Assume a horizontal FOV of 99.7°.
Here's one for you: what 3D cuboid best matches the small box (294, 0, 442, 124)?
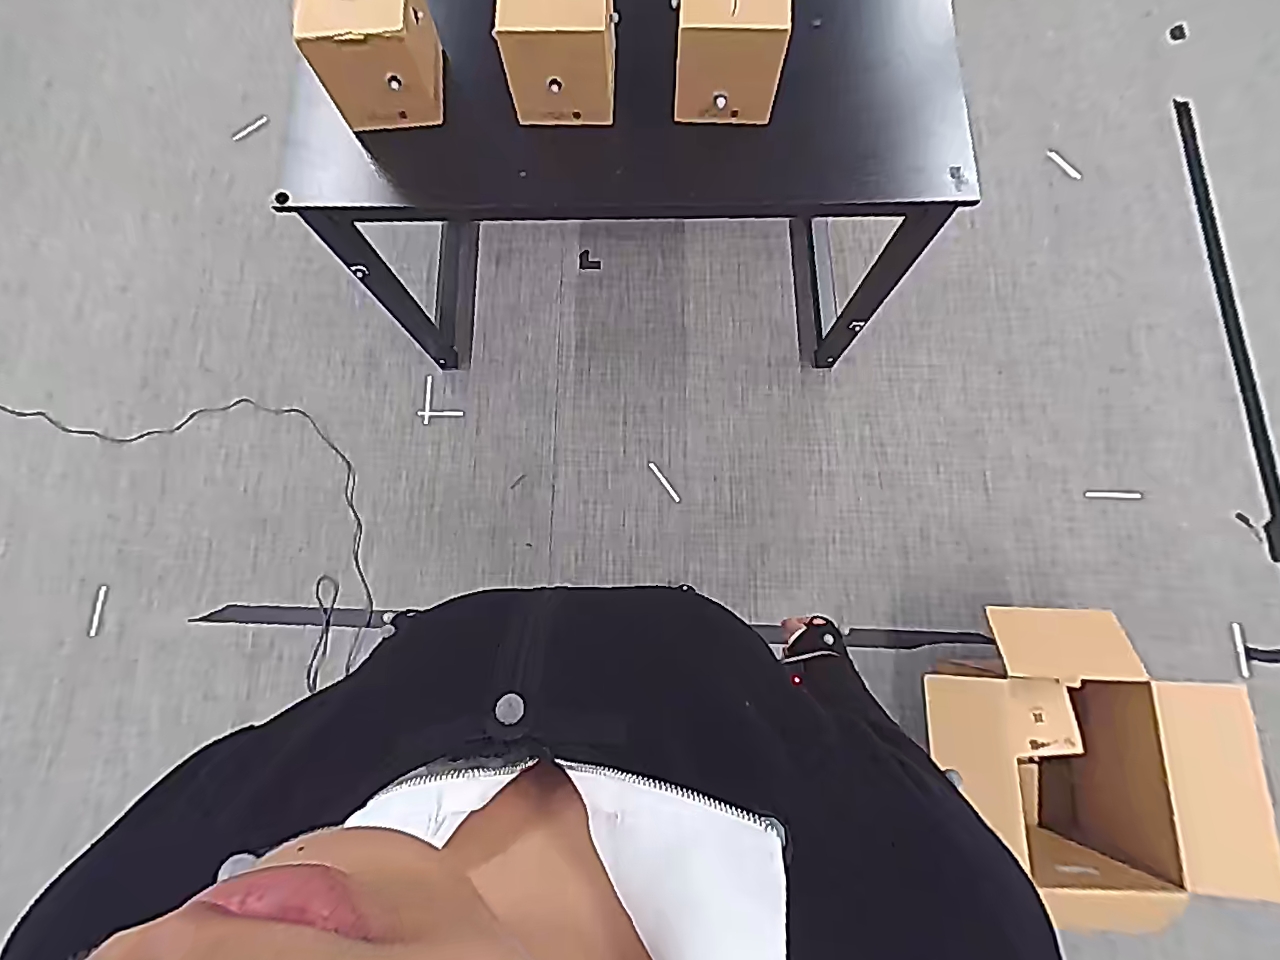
[{"bbox_3d":[-0.438,-0.725,0.898,0.168,0.176,0.179,-5,77,-1],"label":"small box"}]

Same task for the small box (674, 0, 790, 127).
[{"bbox_3d":[0.144,-0.726,0.888,0.168,0.176,0.179,3,79,2],"label":"small box"}]

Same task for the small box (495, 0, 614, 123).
[{"bbox_3d":[-0.131,-0.726,0.891,0.168,0.176,0.179,1,78,1],"label":"small box"}]
